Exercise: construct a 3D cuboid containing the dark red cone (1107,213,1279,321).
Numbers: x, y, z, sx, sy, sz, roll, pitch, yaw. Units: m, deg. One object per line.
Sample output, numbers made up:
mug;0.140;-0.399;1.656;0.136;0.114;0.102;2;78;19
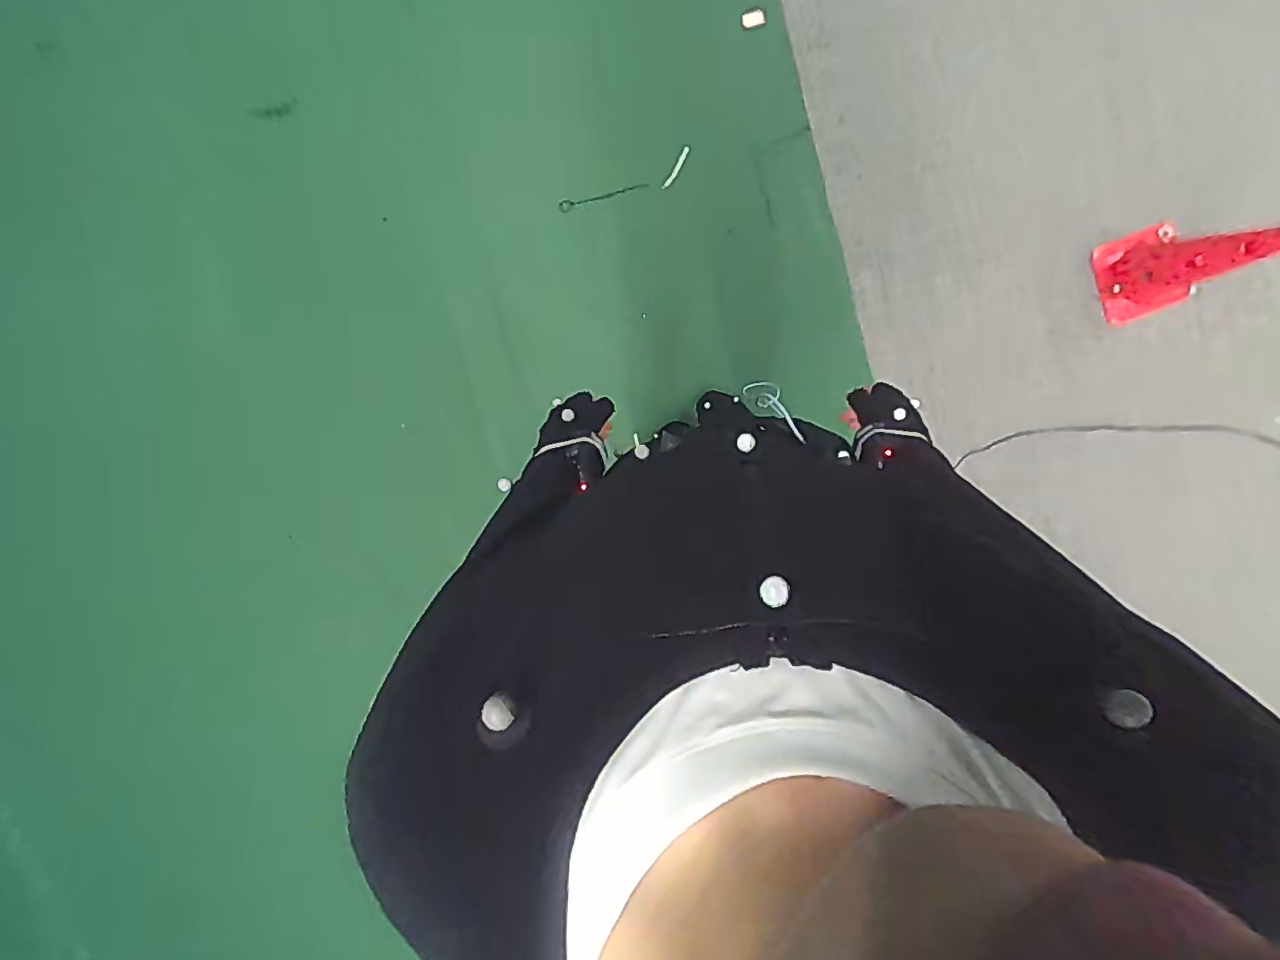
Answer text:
dark red cone;1.228;-0.480;1.138;0.201;0.394;0.202;-22;98;8
